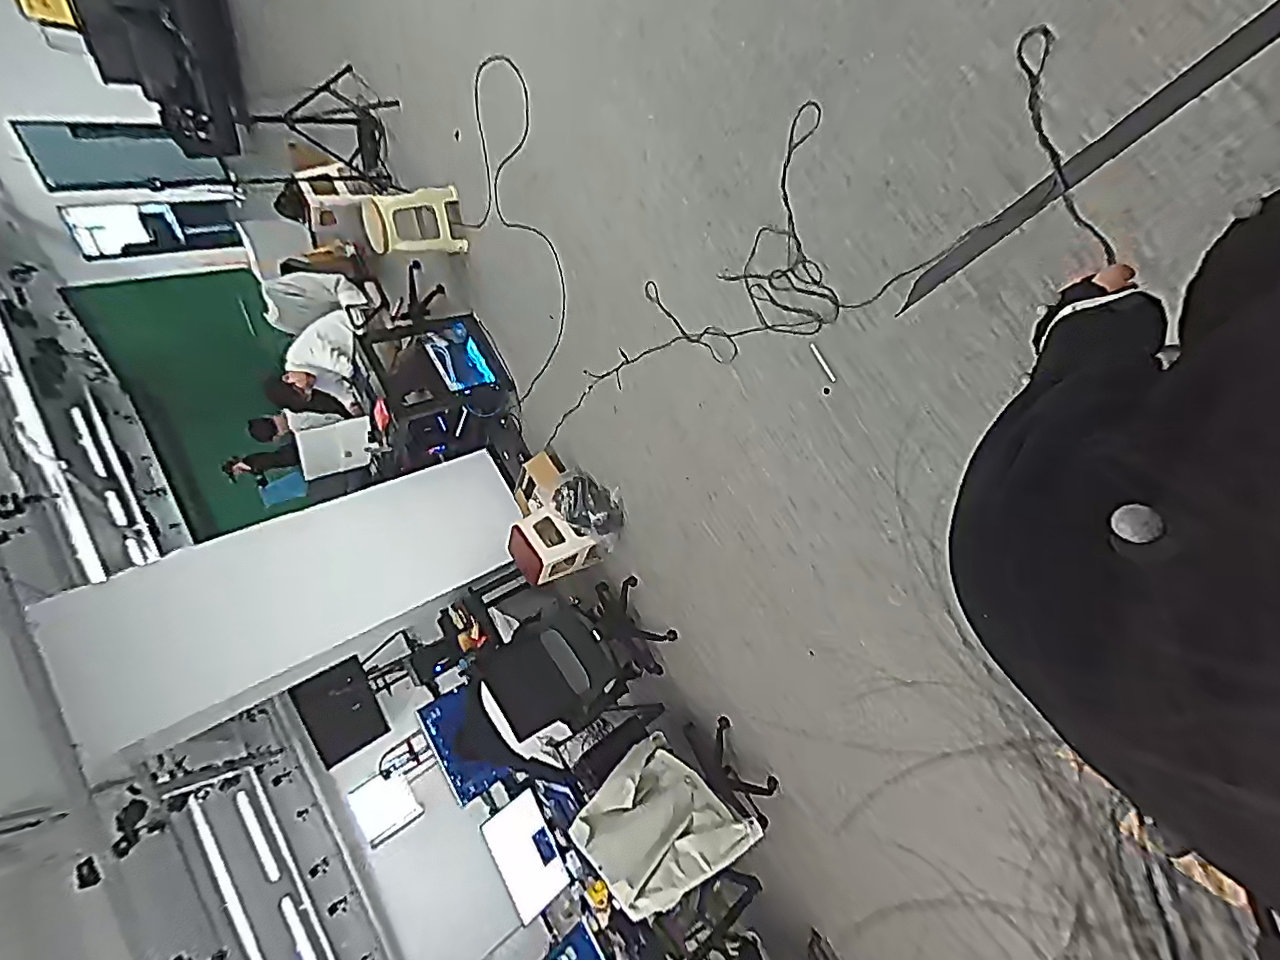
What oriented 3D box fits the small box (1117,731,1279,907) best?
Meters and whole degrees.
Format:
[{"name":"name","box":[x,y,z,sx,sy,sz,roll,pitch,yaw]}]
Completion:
[{"name":"small box","box":[1.033,0.605,0.986,0.179,0.176,0.168,31,132,41]}]
